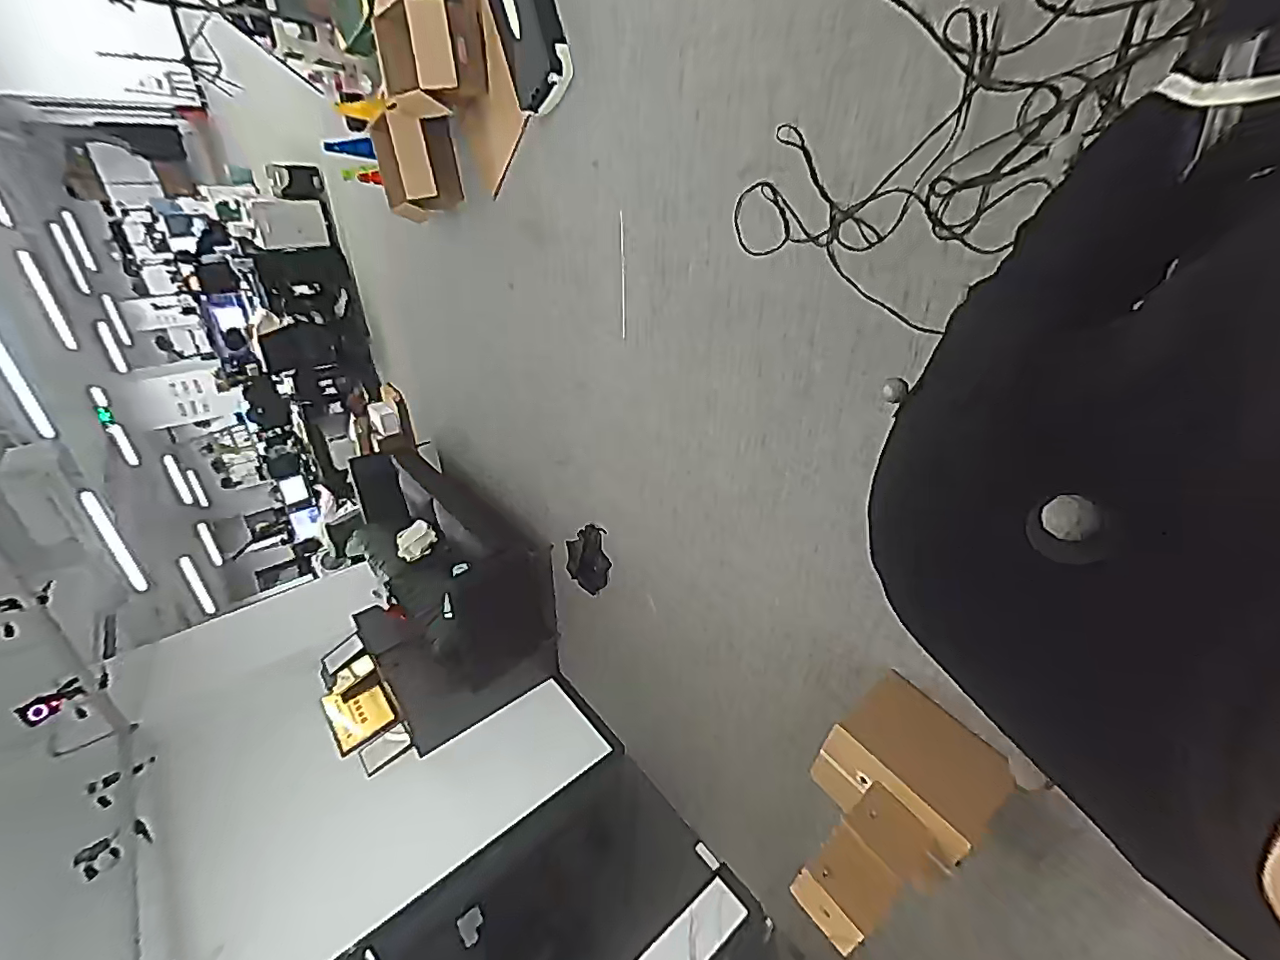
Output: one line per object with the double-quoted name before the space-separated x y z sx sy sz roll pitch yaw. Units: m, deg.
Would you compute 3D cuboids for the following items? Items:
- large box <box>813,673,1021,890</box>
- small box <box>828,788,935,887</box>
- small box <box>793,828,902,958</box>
"large box" 0.804 0.874 1.608 0.408 0.320 0.320 39 136 38
"small box" 0.644 0.966 1.446 0.179 0.176 0.168 38 138 36
"small box" 0.521 1.033 1.361 0.179 0.176 0.168 39 138 37
